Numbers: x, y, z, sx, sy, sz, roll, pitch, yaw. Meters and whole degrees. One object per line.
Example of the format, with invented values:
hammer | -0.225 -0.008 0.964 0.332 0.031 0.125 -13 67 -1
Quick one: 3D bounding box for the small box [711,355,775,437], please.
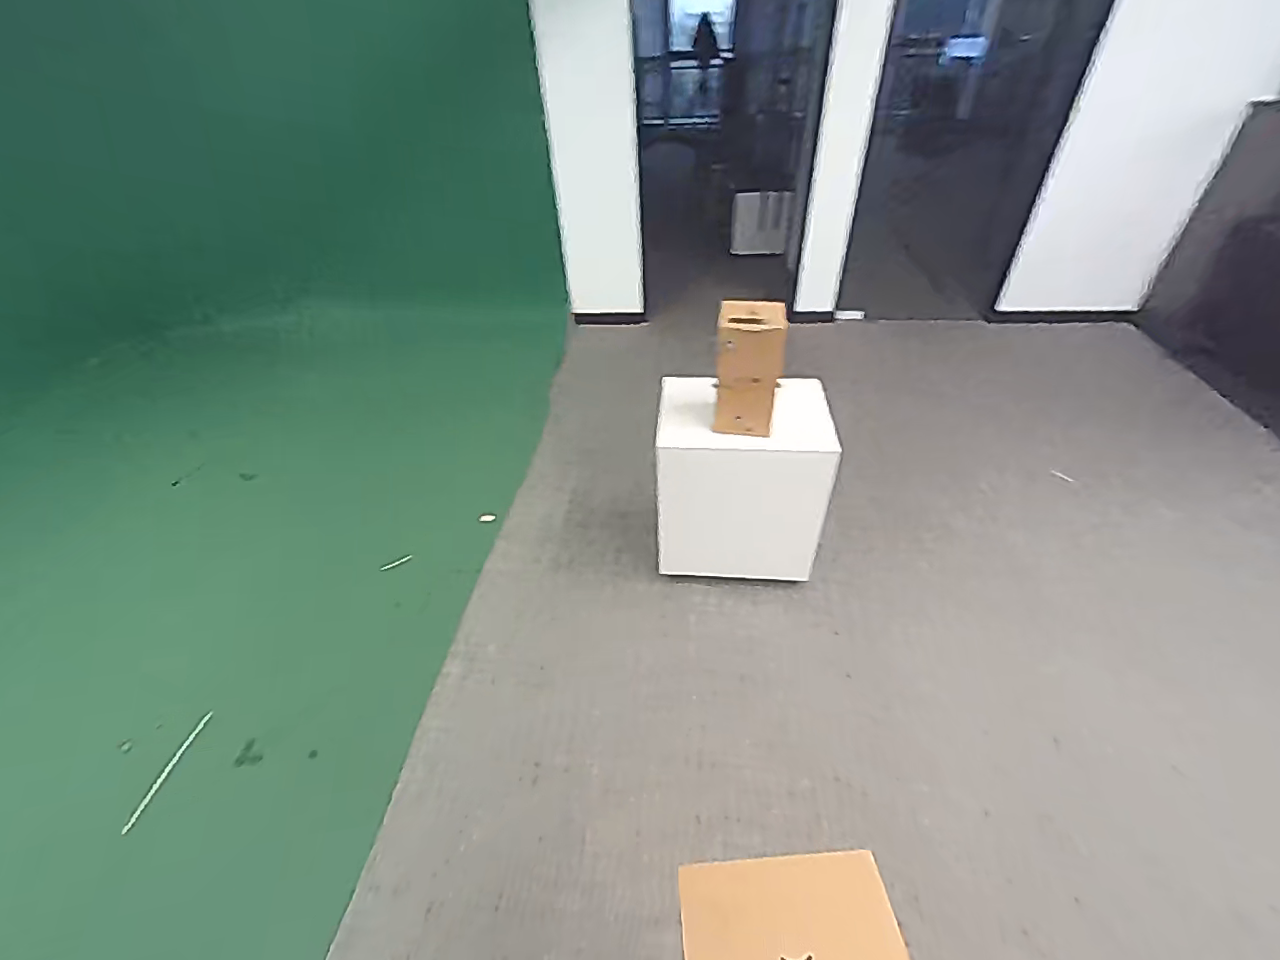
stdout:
small box | 0.297 -0.246 1.570 0.168 0.176 0.179 5 40 10
